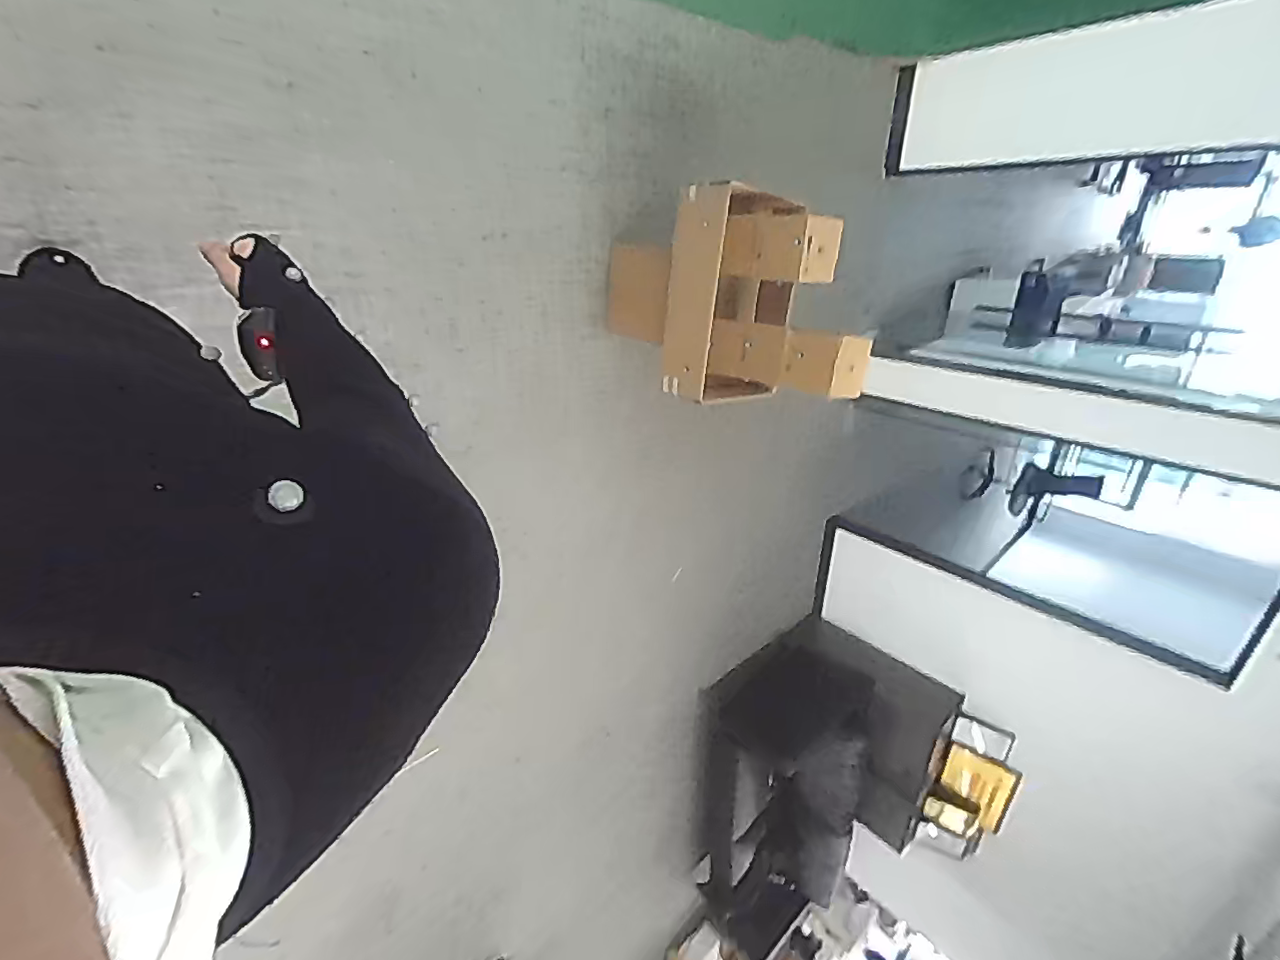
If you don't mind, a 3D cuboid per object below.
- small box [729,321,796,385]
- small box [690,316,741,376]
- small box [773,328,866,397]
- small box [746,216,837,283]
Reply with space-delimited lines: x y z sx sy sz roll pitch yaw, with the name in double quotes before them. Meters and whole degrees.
"small box" 0.400 -0.388 1.648 0.179 0.176 0.168 -9 115 -42
"small box" 0.291 -0.435 1.760 0.179 0.176 0.168 -8 114 -42
"small box" 0.509 -0.335 1.540 0.179 0.176 0.168 -9 114 -42
"small box" 0.430 -0.659 1.547 0.179 0.176 0.168 -17 119 -39
